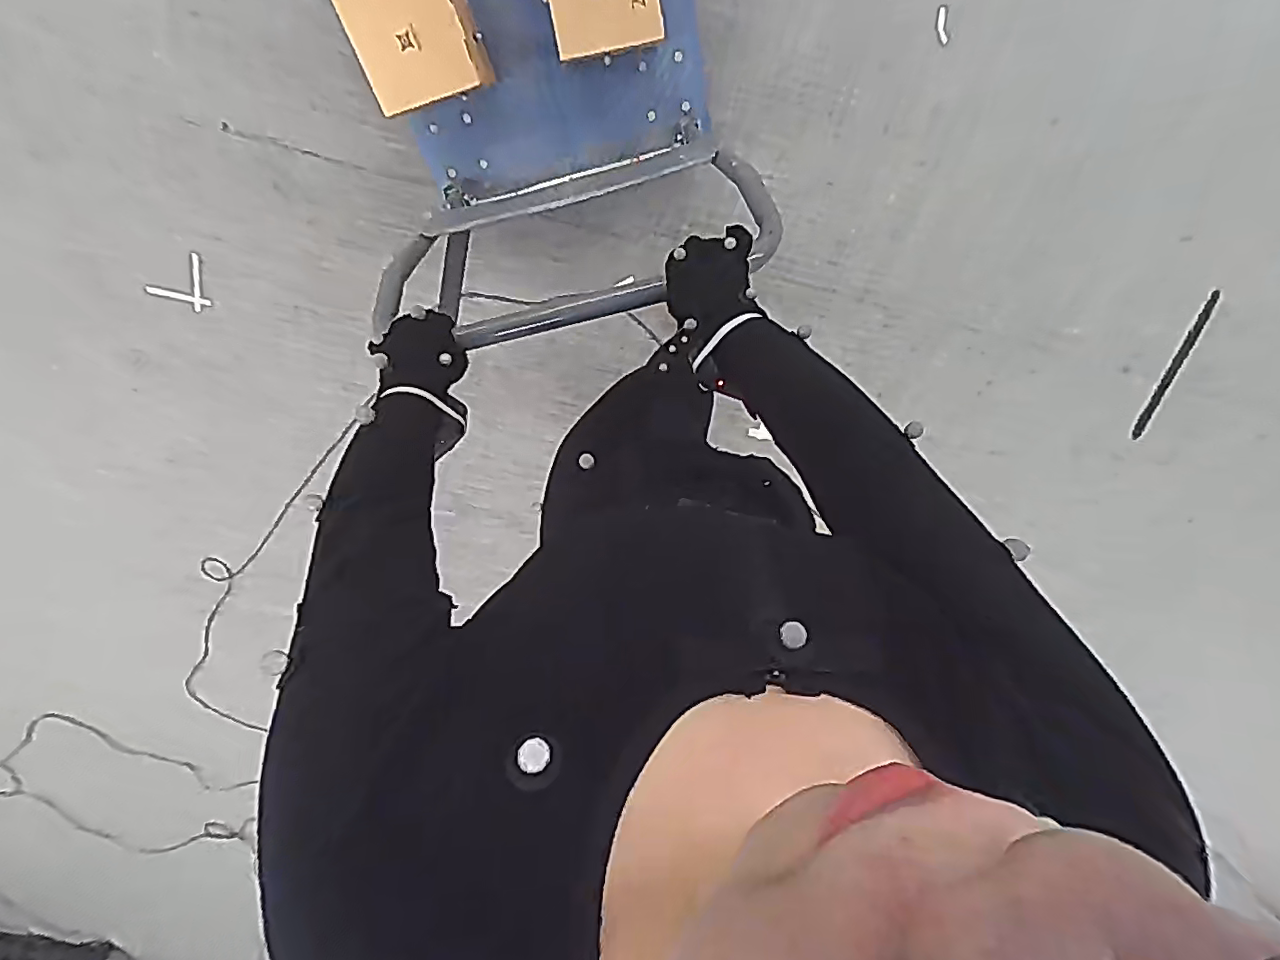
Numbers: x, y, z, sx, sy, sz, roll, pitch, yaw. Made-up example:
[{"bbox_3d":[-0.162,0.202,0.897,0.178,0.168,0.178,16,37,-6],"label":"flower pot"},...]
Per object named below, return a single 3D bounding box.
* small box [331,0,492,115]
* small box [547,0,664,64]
[{"bbox_3d":[-0.371,-0.737,0.915,0.179,0.176,0.168,-16,125,5],"label":"small box"},{"bbox_3d":[-0.062,-0.804,0.889,0.179,0.176,0.168,-10,126,3],"label":"small box"}]
